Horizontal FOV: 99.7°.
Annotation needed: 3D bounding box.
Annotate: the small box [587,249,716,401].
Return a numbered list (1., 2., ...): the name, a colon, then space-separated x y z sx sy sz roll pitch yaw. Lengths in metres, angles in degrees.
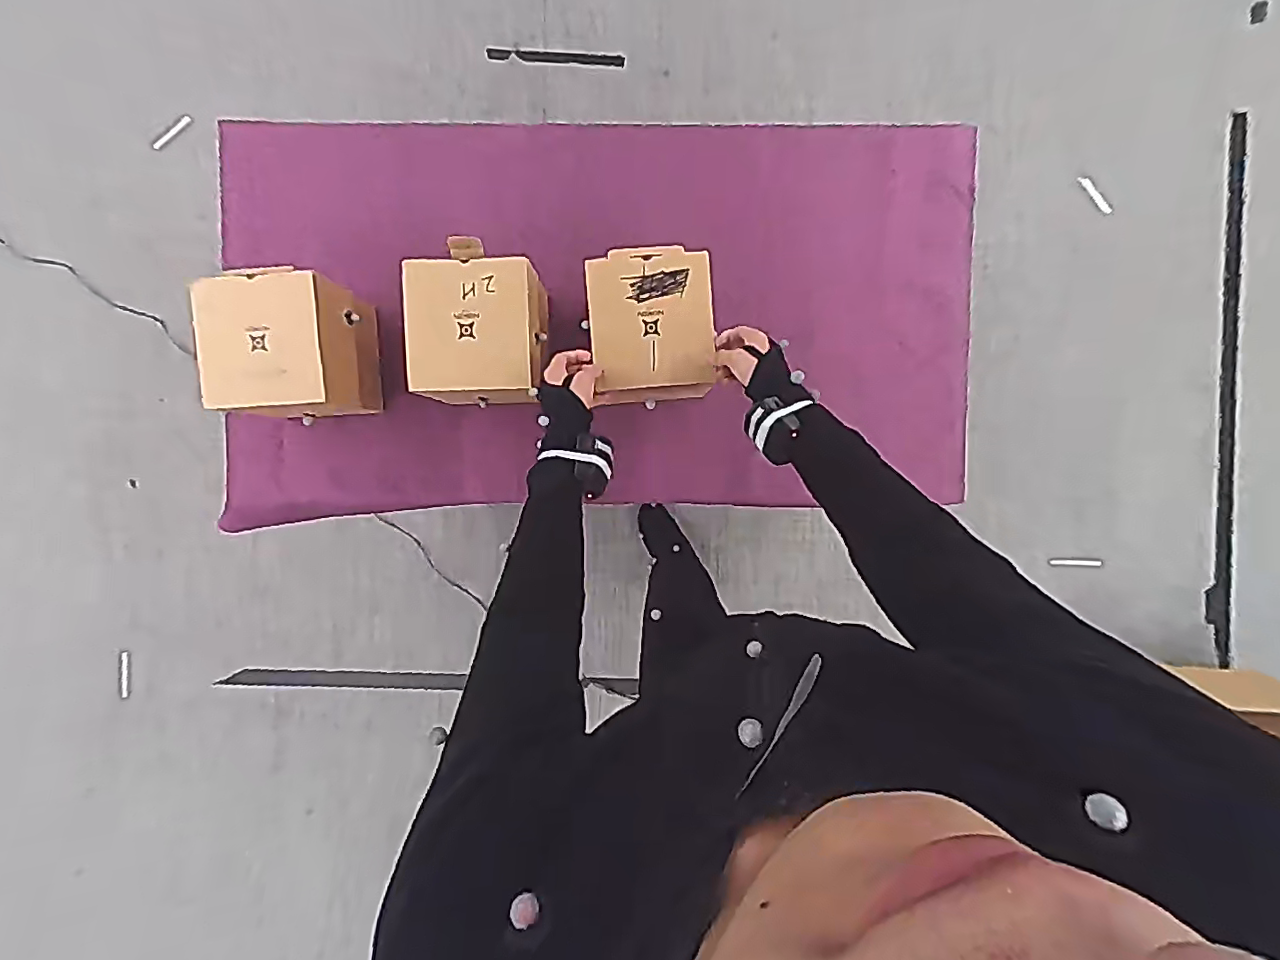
1. small box: 0.013 -0.217 0.798 0.168 0.176 0.179 -5 93 0

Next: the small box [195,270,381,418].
1. small box: -0.502 -0.190 0.795 0.168 0.176 0.179 -3 92 0

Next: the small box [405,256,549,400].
1. small box: -0.228 -0.211 0.797 0.168 0.176 0.179 -1 92 -1
